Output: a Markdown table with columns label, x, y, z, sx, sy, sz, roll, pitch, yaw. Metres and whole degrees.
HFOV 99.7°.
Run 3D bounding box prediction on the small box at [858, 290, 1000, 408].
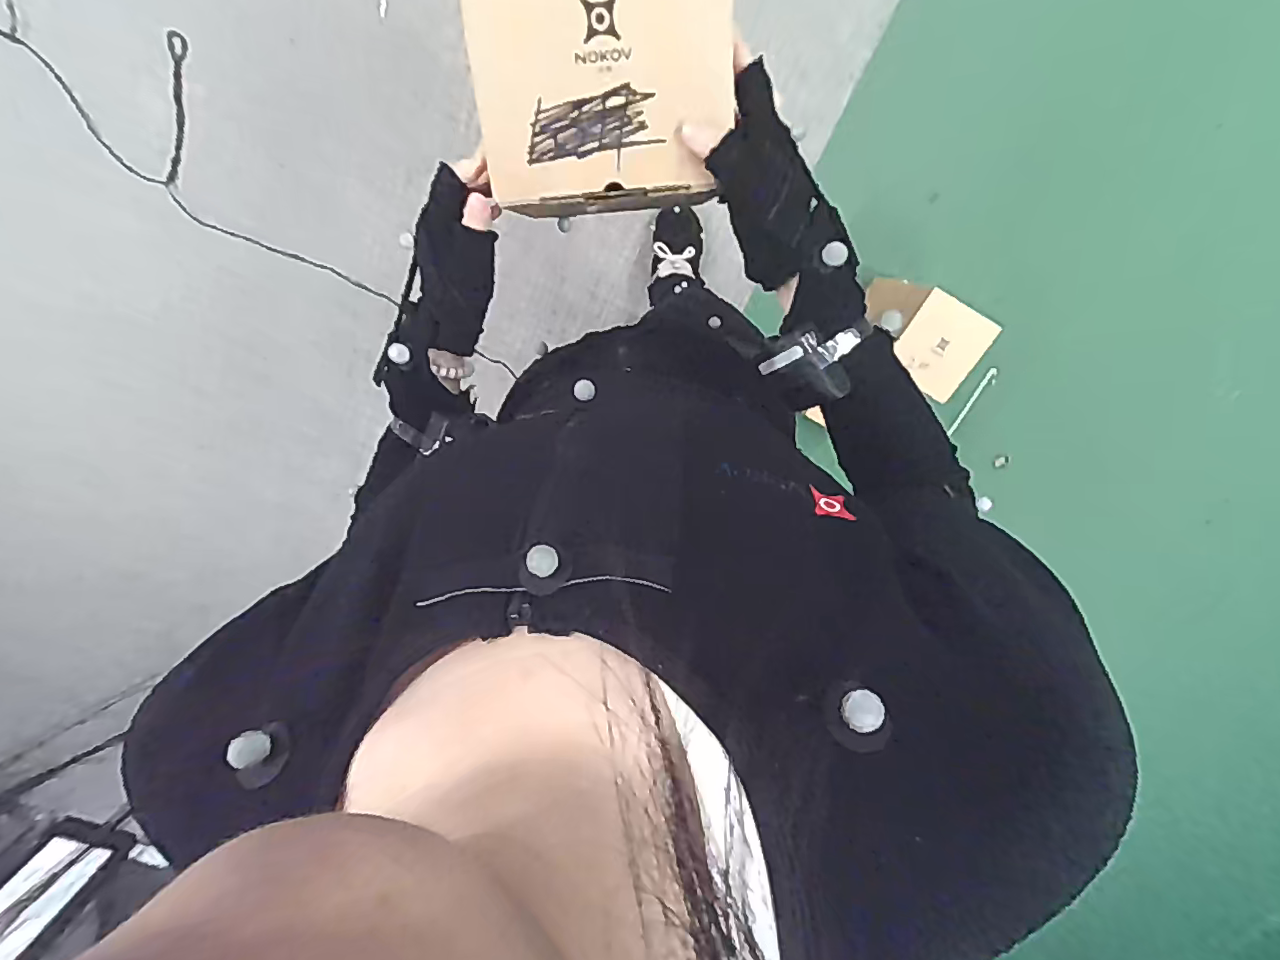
| label | x | y | z | sx | sy | sz | roll | pitch | yaw |
| --- | --- | --- | --- | --- | --- | --- | --- | --- | --- |
| small box | 0.592 | -0.283 | 1.137 | 0.168 | 0.176 | 0.179 | 27 | 112 | -8 |
